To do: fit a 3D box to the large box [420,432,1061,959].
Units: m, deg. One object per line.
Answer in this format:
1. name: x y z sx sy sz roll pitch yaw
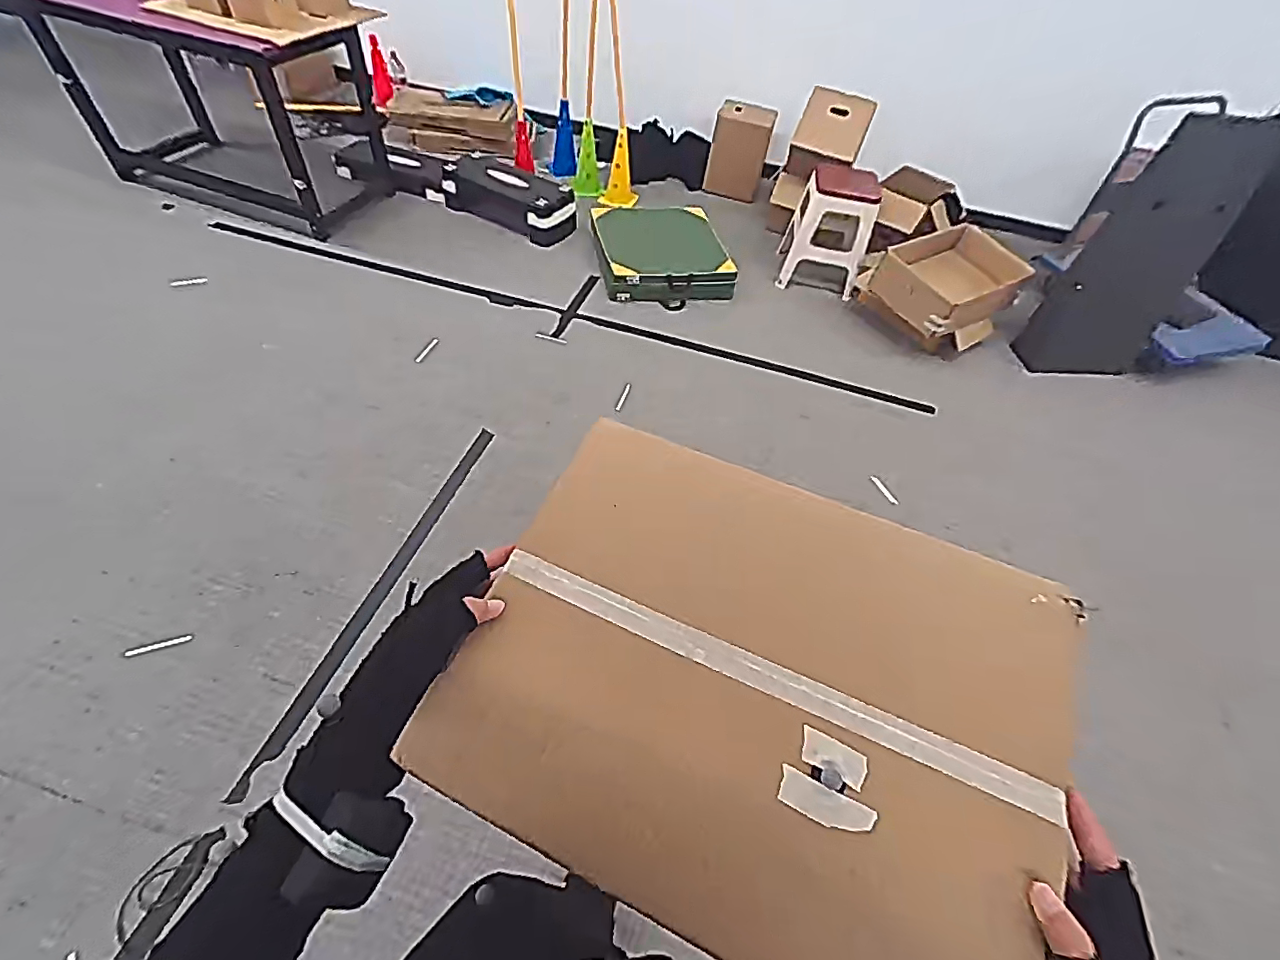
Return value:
1. large box: 0.088 0.215 0.528 0.408 0.320 0.320 22 64 14
